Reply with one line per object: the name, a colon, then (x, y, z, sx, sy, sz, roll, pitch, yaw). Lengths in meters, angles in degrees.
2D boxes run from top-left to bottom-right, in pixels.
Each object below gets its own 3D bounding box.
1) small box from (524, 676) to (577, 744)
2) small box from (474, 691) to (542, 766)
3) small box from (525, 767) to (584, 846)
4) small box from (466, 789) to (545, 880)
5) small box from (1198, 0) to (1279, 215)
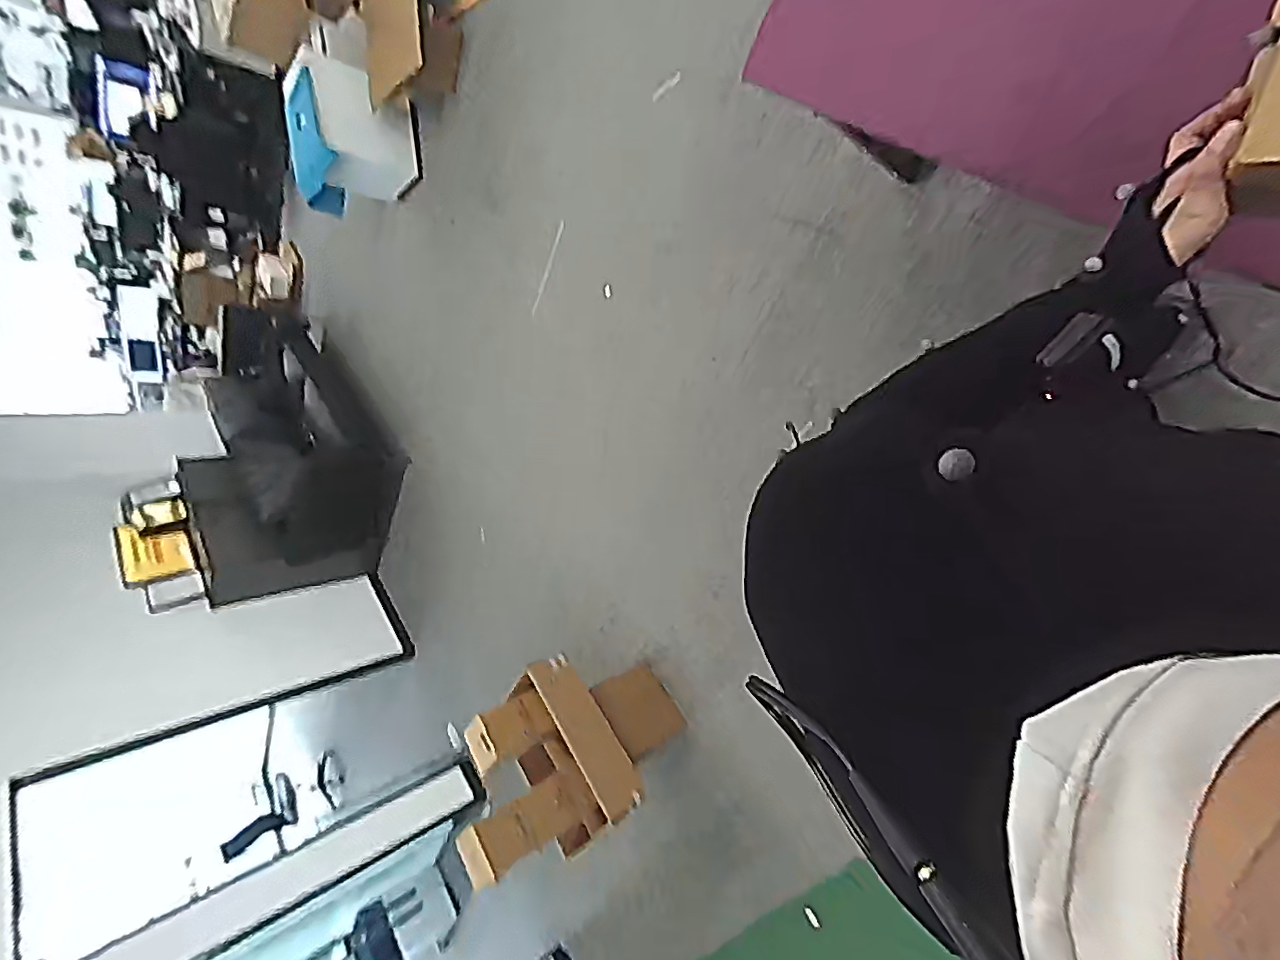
small box: (-0.376, 0.908, 2.134, 0.168, 0.176, 0.179, 53, 127, 27)
small box: (-0.487, 0.919, 2.012, 0.168, 0.176, 0.179, 54, 128, 26)
small box: (-0.321, 1.136, 1.876, 0.168, 0.176, 0.179, 54, 128, 25)
small box: (-0.435, 1.150, 1.760, 0.168, 0.176, 0.179, 53, 128, 25)
small box: (0.528, -0.295, 0.367, 0.168, 0.176, 0.179, 20, 110, 36)
